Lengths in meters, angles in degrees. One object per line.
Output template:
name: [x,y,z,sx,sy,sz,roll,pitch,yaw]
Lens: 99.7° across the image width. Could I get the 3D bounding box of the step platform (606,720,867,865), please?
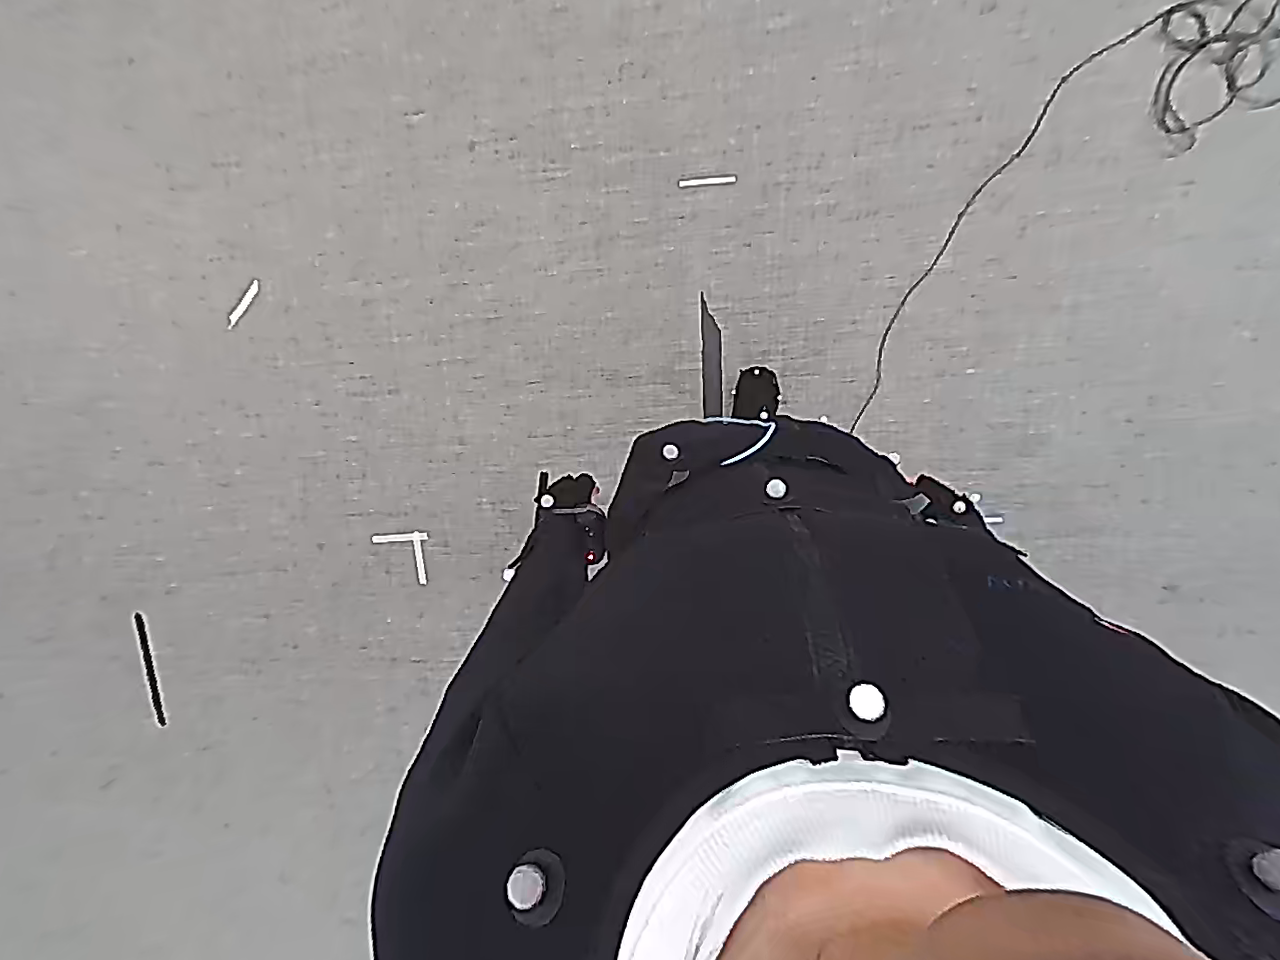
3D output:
step platform: [0.249,0.841,1.471,0.684,0.204,0.286,-3,98,9]
